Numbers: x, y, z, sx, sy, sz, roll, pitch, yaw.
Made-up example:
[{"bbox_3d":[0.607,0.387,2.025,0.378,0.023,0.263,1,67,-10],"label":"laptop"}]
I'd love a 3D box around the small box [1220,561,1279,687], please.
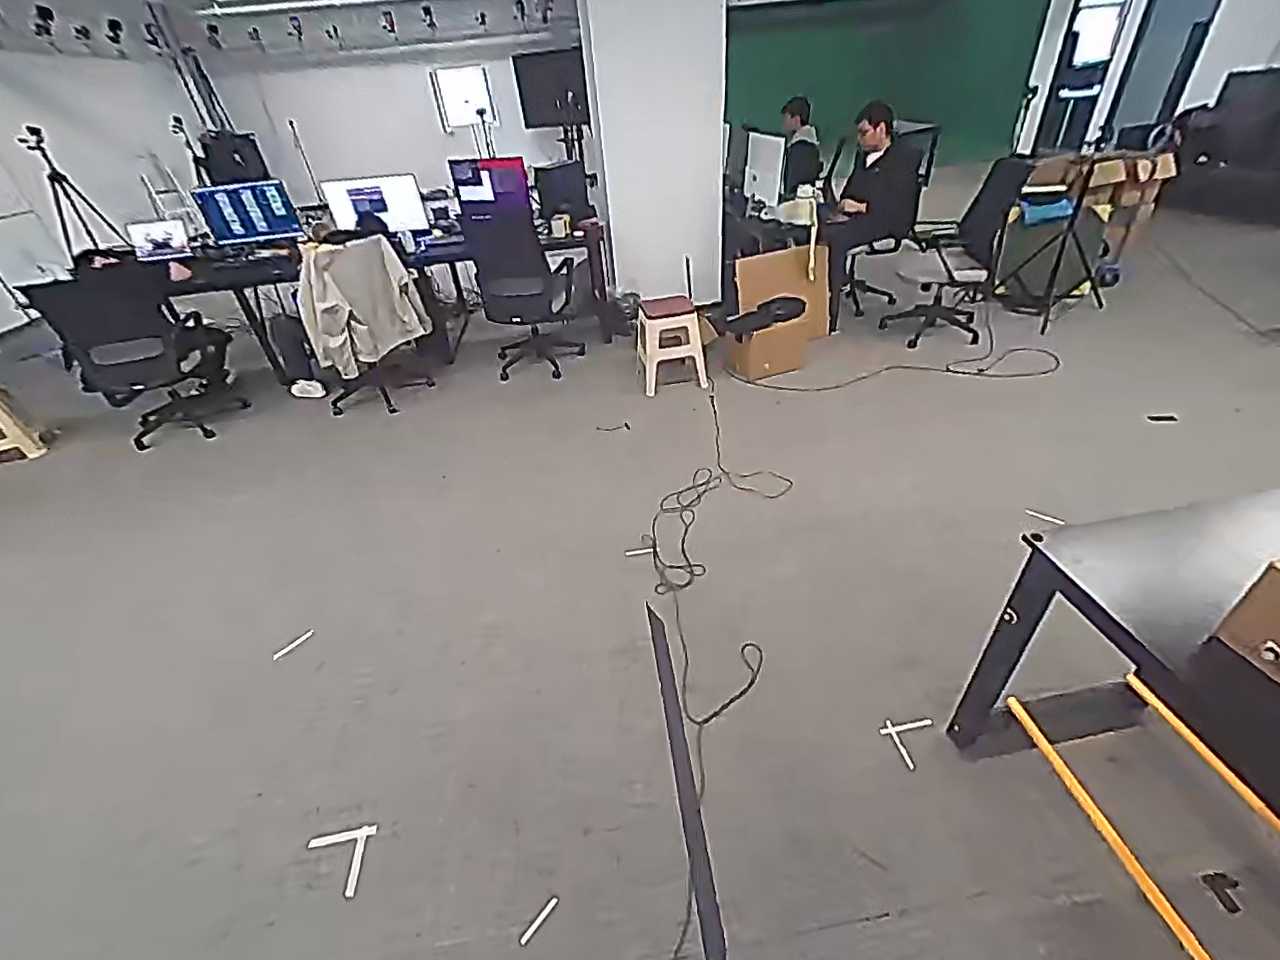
[{"bbox_3d":[1.023,0.216,0.780,0.179,0.176,0.168,-13,36,-8],"label":"small box"}]
